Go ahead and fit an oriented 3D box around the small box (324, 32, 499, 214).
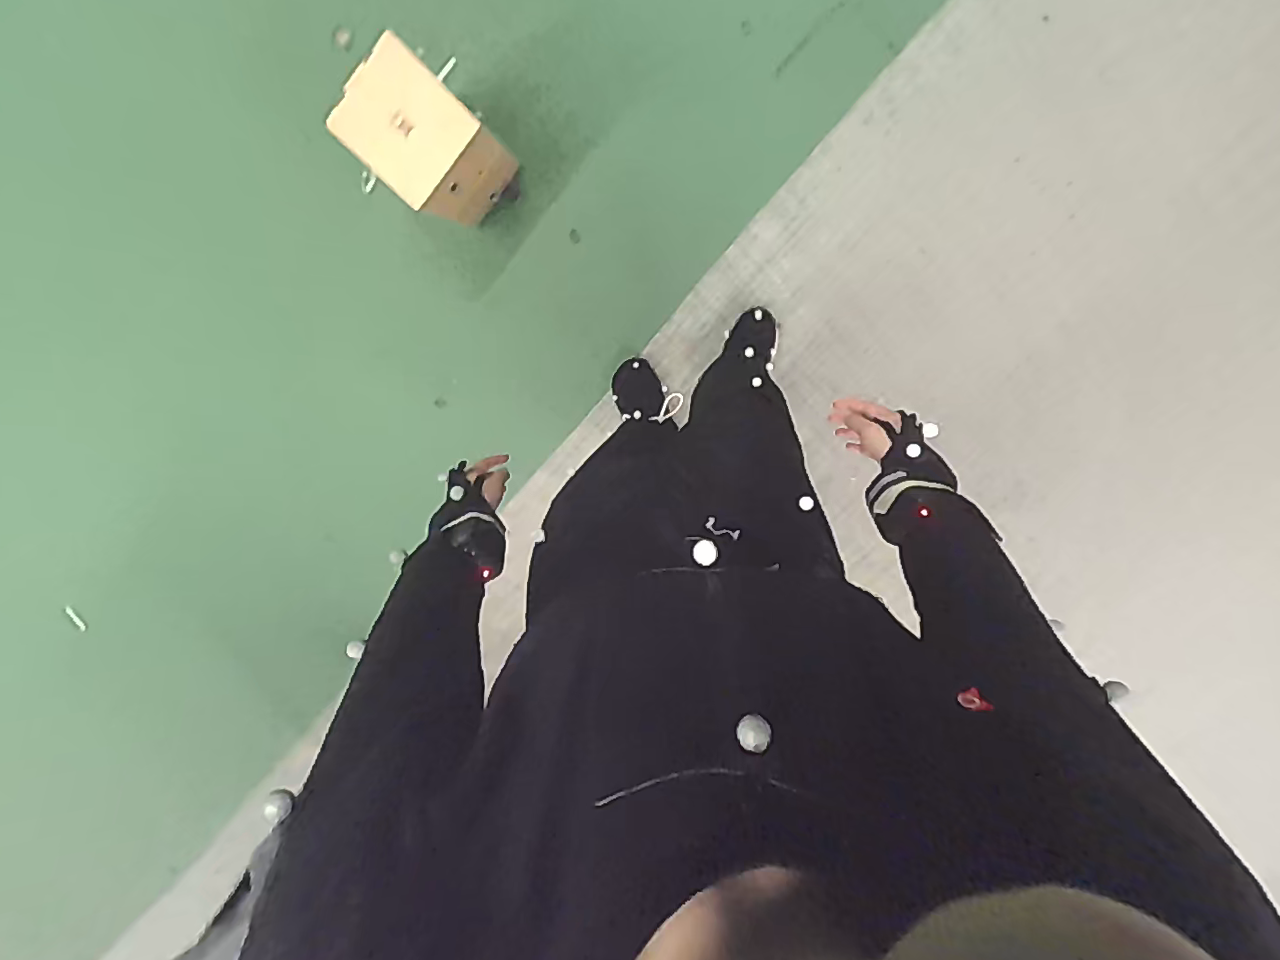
[{"bbox_3d":[-0.359,-0.562,0.886,0.179,0.176,0.168,41,105,-14],"label":"small box"}]
